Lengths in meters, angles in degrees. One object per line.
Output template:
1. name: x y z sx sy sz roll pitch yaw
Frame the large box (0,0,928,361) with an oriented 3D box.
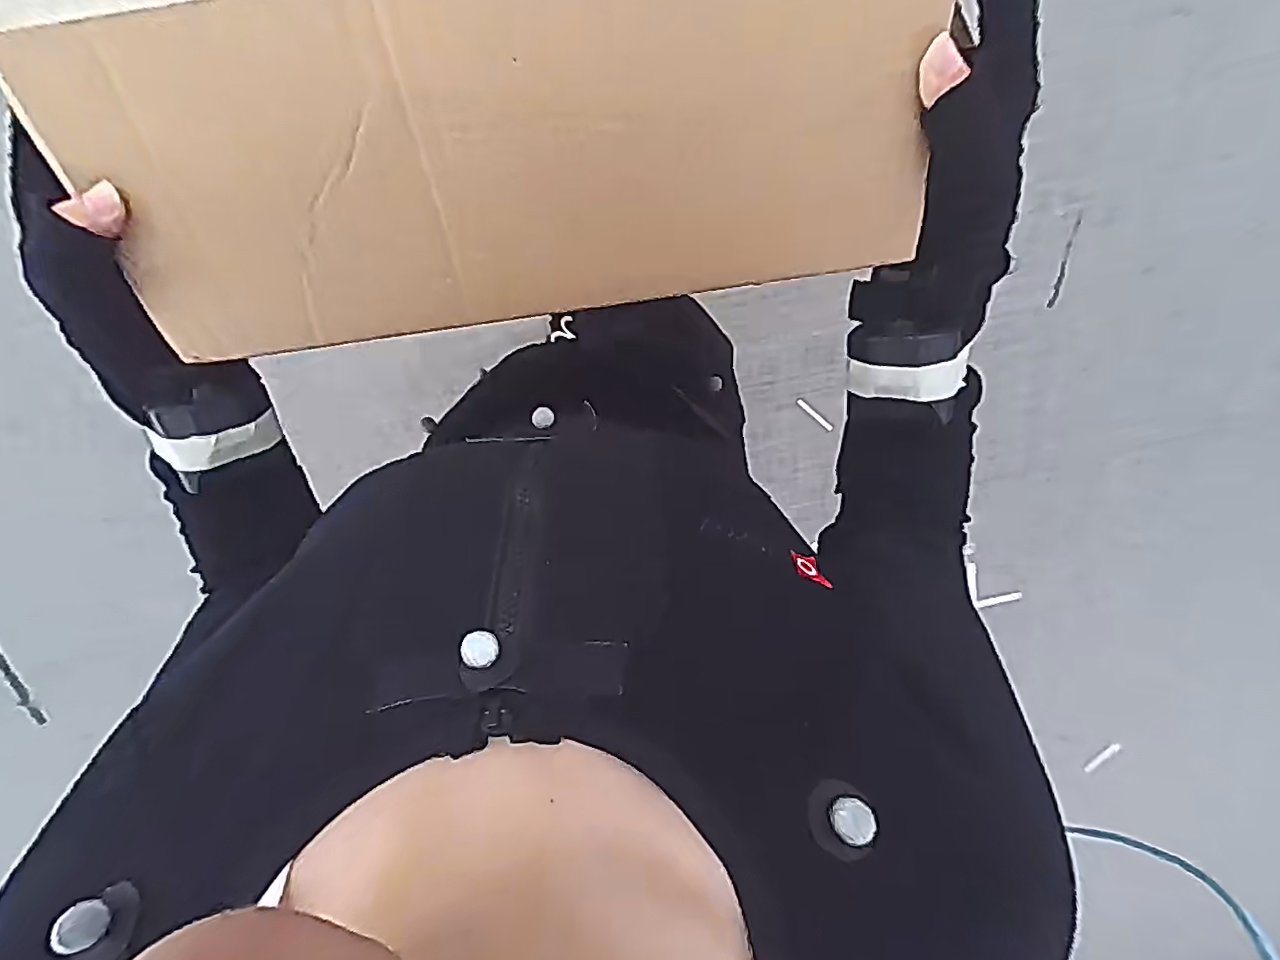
1. large box: -0.080 -0.305 0.340 0.408 0.320 0.320 -7 124 3
